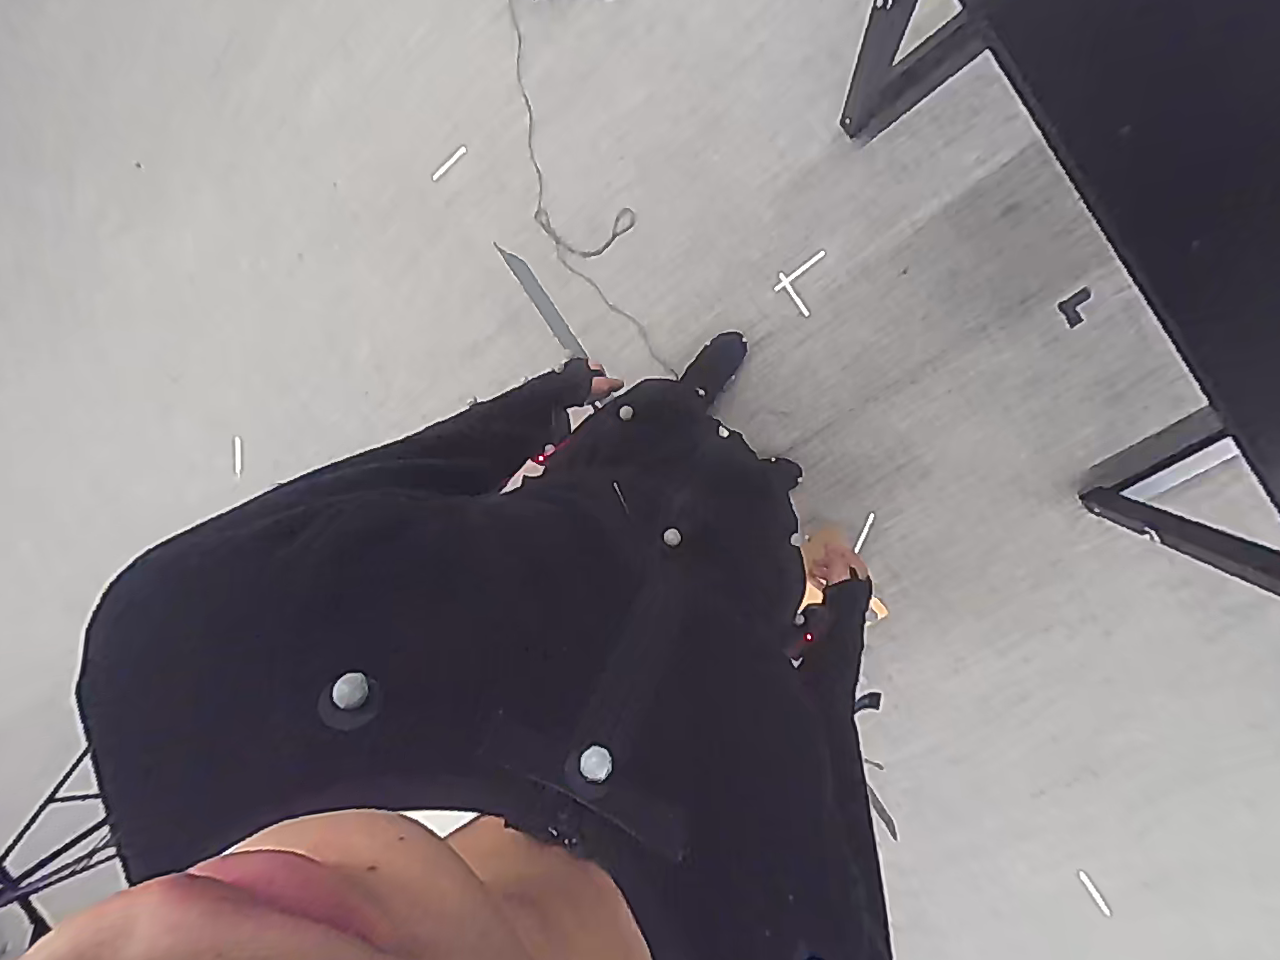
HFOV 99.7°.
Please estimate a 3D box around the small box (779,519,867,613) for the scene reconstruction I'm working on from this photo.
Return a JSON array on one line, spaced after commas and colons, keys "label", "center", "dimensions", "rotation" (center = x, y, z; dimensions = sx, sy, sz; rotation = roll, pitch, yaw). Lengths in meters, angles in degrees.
[{"label": "small box", "center": [0.505, 0.234, 1.512], "dimensions": [0.168, 0.176, 0.179], "rotation": [-34, 92, 17]}]
